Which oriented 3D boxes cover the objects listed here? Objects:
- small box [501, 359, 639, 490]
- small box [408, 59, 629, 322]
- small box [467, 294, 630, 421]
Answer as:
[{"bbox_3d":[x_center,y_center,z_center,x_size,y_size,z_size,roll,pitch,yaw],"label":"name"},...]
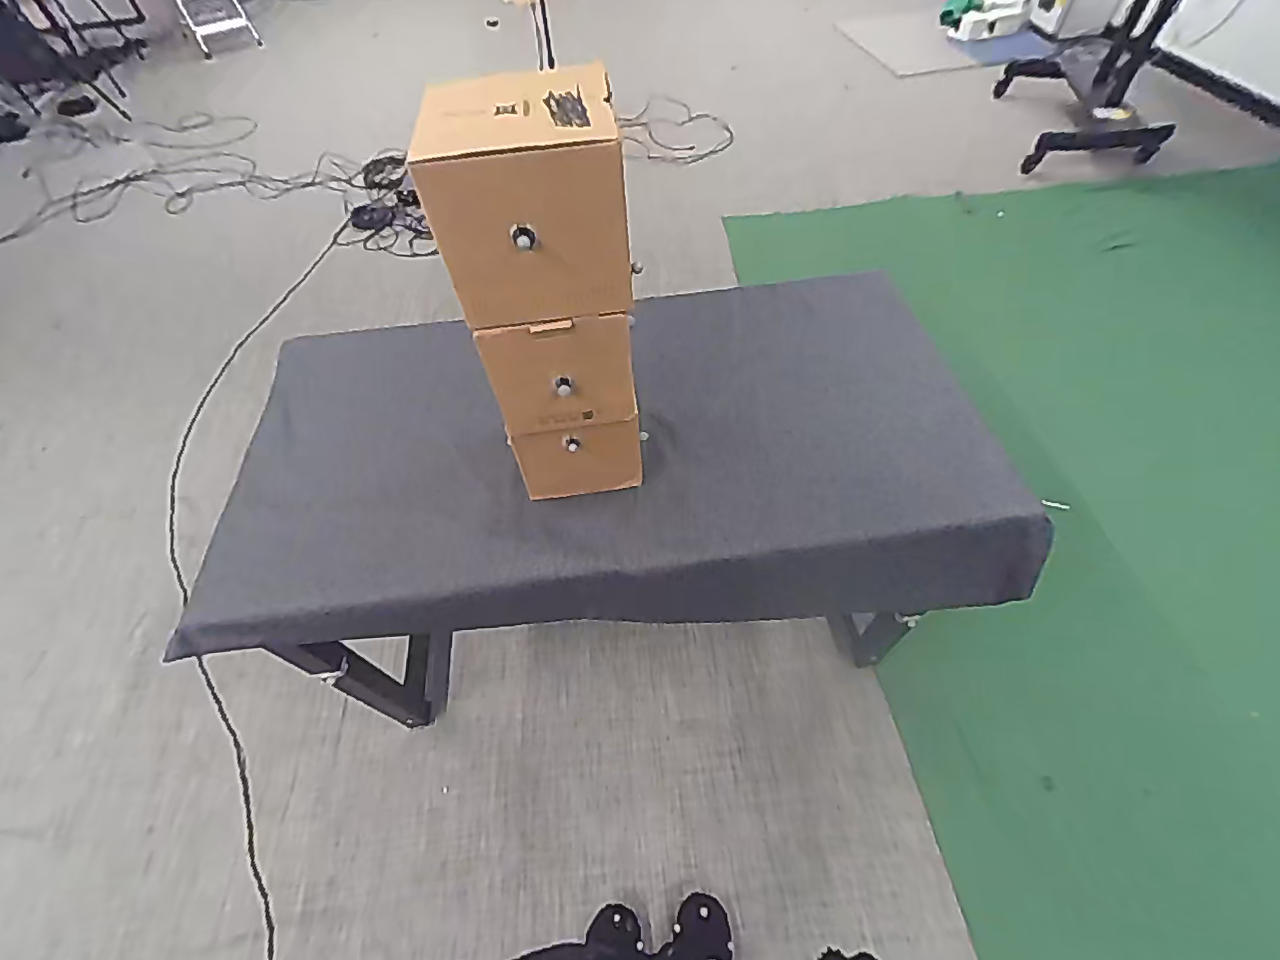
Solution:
[{"bbox_3d":[-0.100,-0.100,0.810,0.179,0.176,0.168,-7,56,-3],"label":"small box"},{"bbox_3d":[-0.107,-0.280,0.535,0.179,0.176,0.168,-9,55,-4],"label":"small box"},{"bbox_3d":[-0.106,-0.189,0.673,0.168,0.176,0.179,-8,56,-2],"label":"small box"}]
